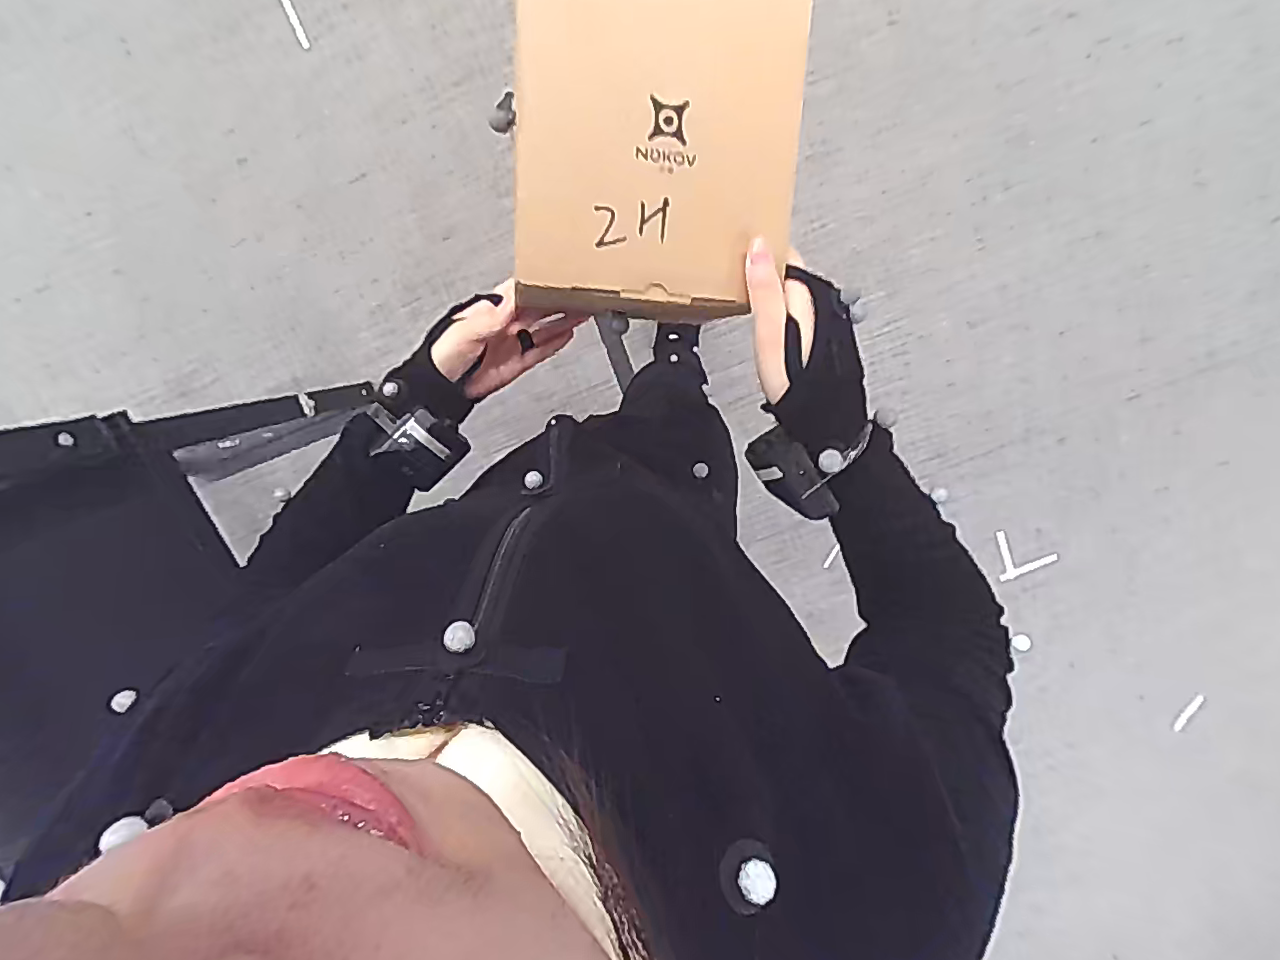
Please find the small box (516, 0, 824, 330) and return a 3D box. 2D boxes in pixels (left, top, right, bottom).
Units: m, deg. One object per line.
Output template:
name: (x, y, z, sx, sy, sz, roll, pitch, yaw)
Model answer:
small box: (0.001, -0.205, 0.377, 0.168, 0.176, 0.179, 1, 102, -13)
